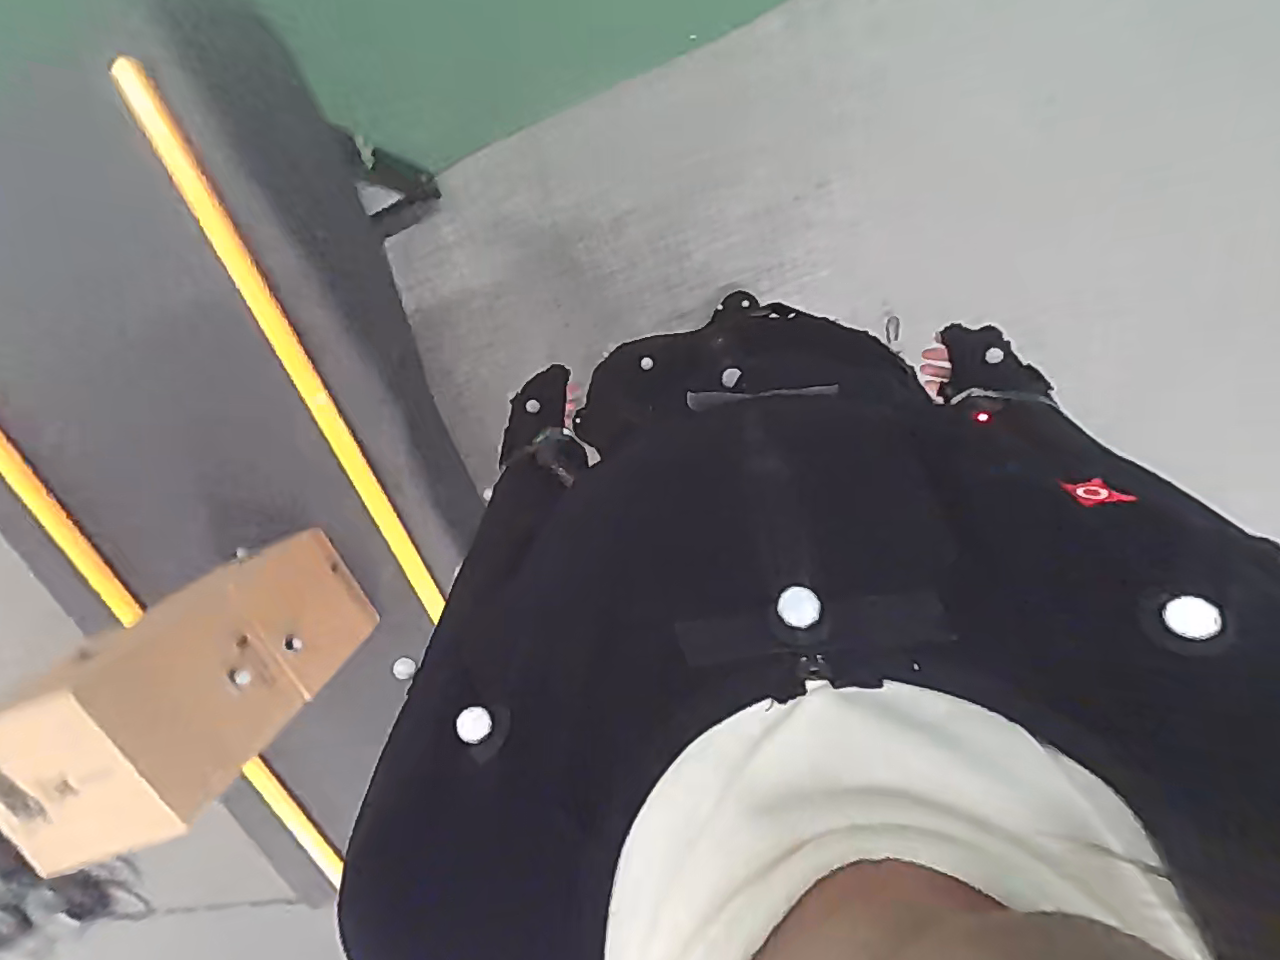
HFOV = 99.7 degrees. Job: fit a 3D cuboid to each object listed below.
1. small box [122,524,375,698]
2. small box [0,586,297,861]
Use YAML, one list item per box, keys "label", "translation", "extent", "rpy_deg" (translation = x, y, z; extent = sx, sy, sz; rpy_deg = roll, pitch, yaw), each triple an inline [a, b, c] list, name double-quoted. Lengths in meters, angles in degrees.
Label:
- label: "small box"
  translation: [-0.496, 0.183, 0.710]
  extent: [0.179, 0.176, 0.168]
  rpy_deg: [-22, 107, 11]
- label: "small box"
  translation: [-0.510, 0.237, 0.555]
  extent: [0.179, 0.176, 0.168]
  rpy_deg: [-20, 107, 9]
